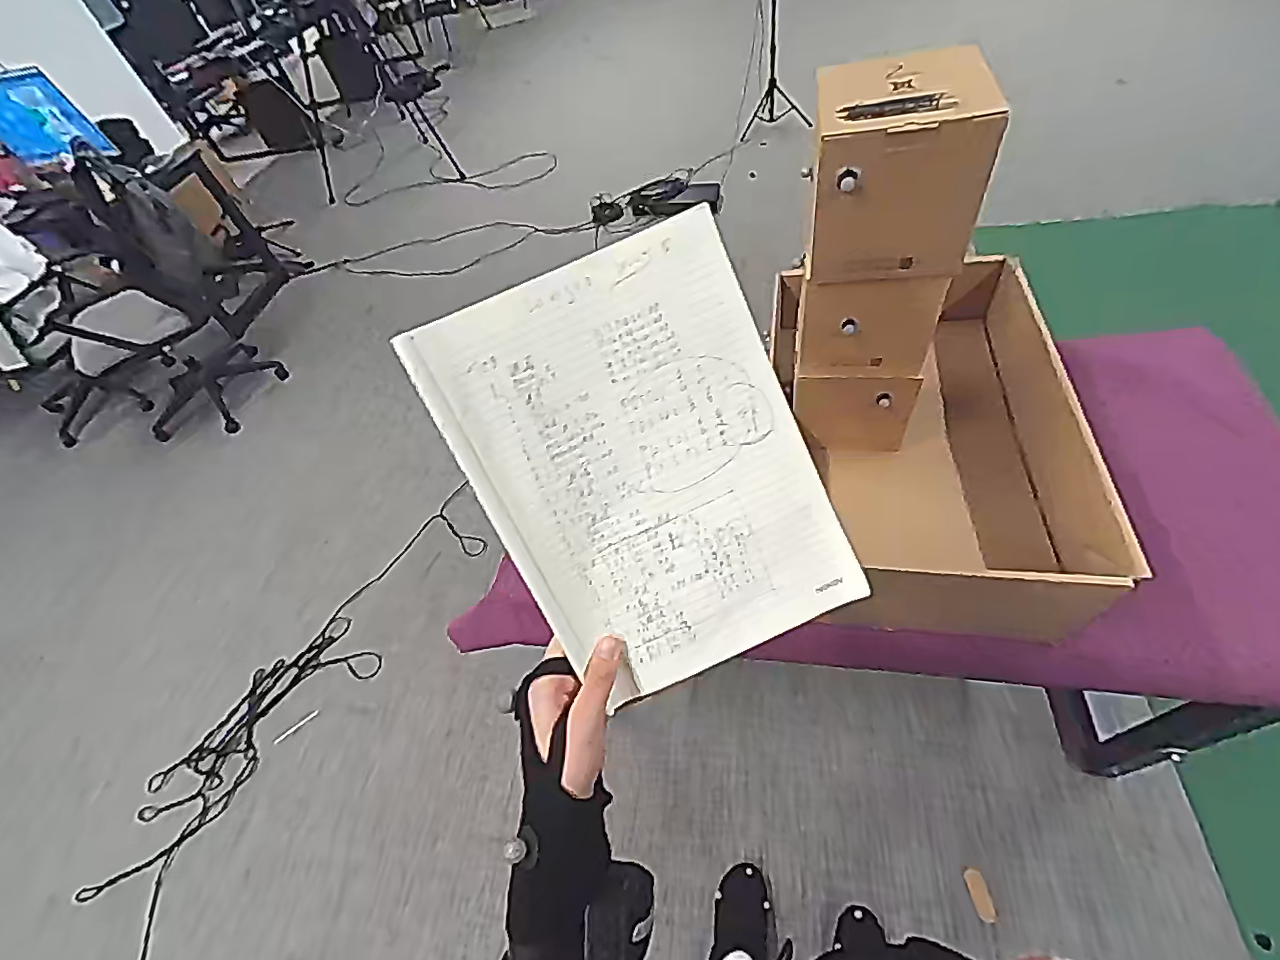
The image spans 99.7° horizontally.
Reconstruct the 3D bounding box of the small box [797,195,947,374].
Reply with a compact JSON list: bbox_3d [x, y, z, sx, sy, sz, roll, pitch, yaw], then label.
[{"bbox_3d":[0.311,-0.265,0.756,0.168,0.176,0.179,3,55,15],"label":"small box"}]
